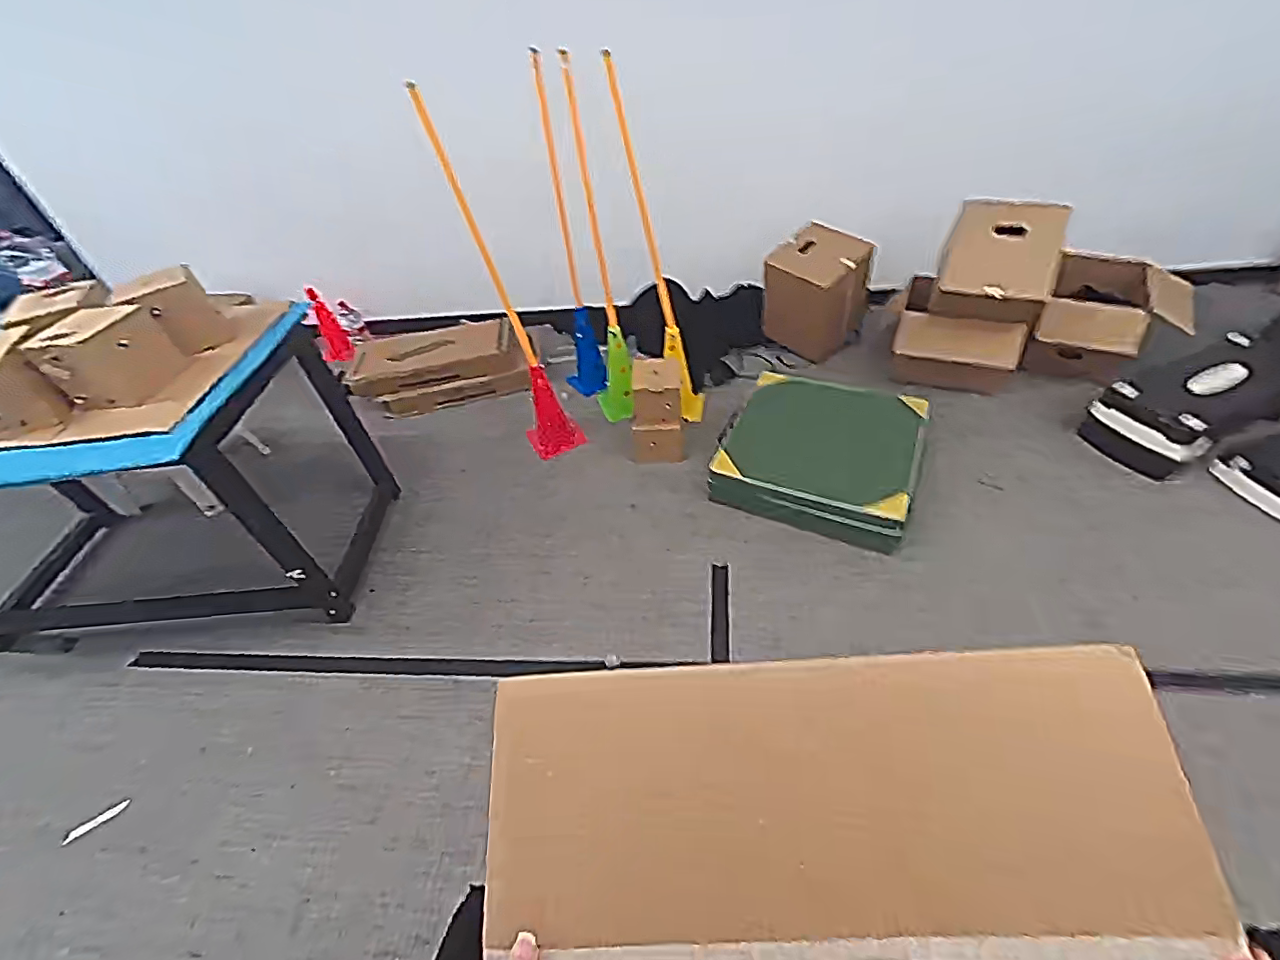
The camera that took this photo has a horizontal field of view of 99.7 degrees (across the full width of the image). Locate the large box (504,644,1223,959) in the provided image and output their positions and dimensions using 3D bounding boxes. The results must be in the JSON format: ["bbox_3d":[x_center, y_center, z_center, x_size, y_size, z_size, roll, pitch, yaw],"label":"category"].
[{"bbox_3d":[0.129,0.323,0.444,0.408,0.320,0.320,-5,68,5],"label":"large box"}]
